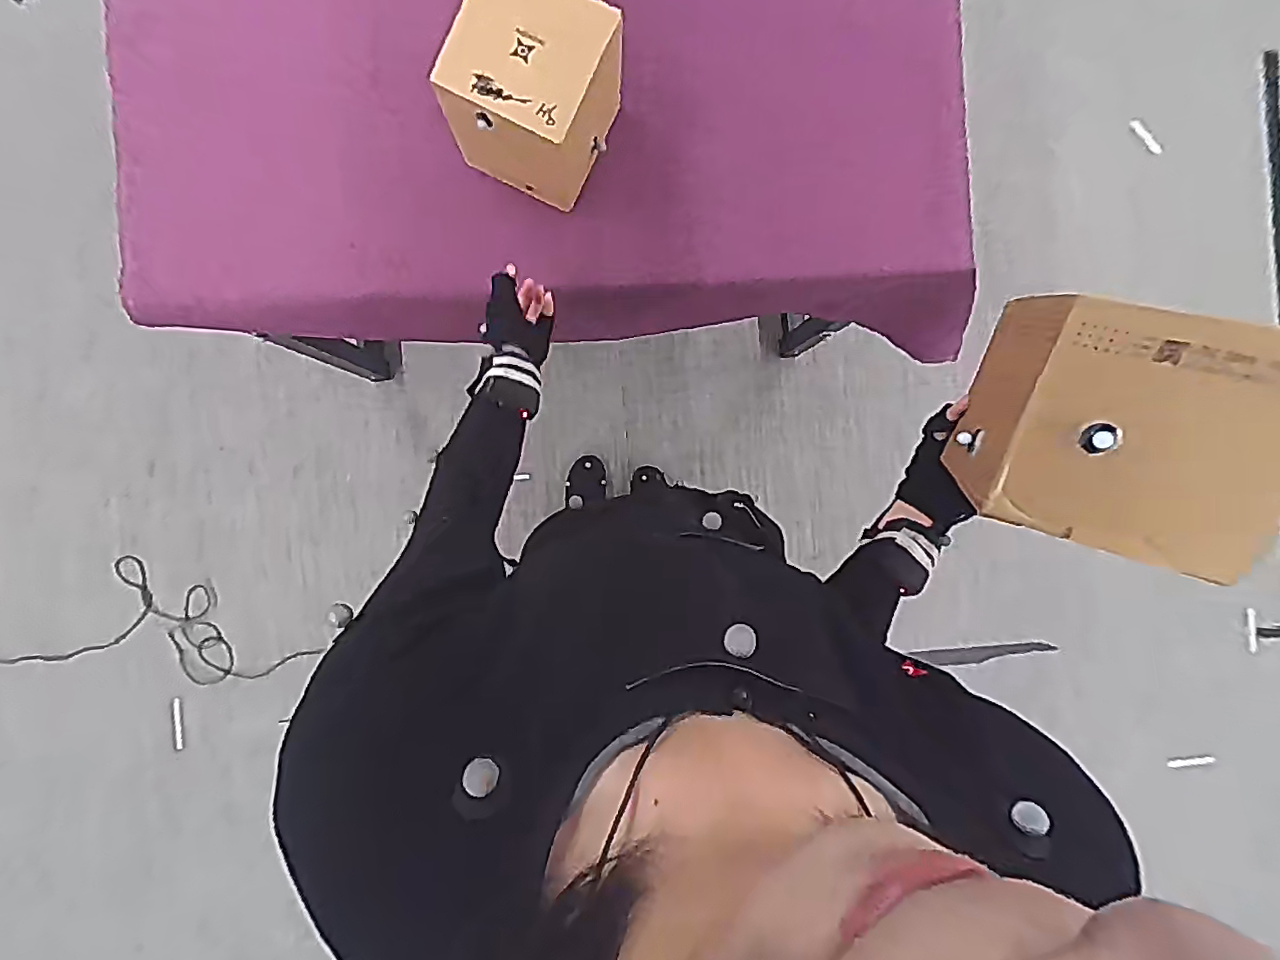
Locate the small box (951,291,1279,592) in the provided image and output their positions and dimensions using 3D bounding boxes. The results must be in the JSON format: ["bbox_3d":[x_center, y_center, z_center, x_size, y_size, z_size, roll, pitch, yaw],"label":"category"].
[{"bbox_3d":[0.378,-0.046,0.423,0.168,0.179,0.176,19,112,15],"label":"small box"}]

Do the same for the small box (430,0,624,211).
[{"bbox_3d":[-0.134,-0.491,0.689,0.168,0.176,0.179,25,88,-4],"label":"small box"}]
